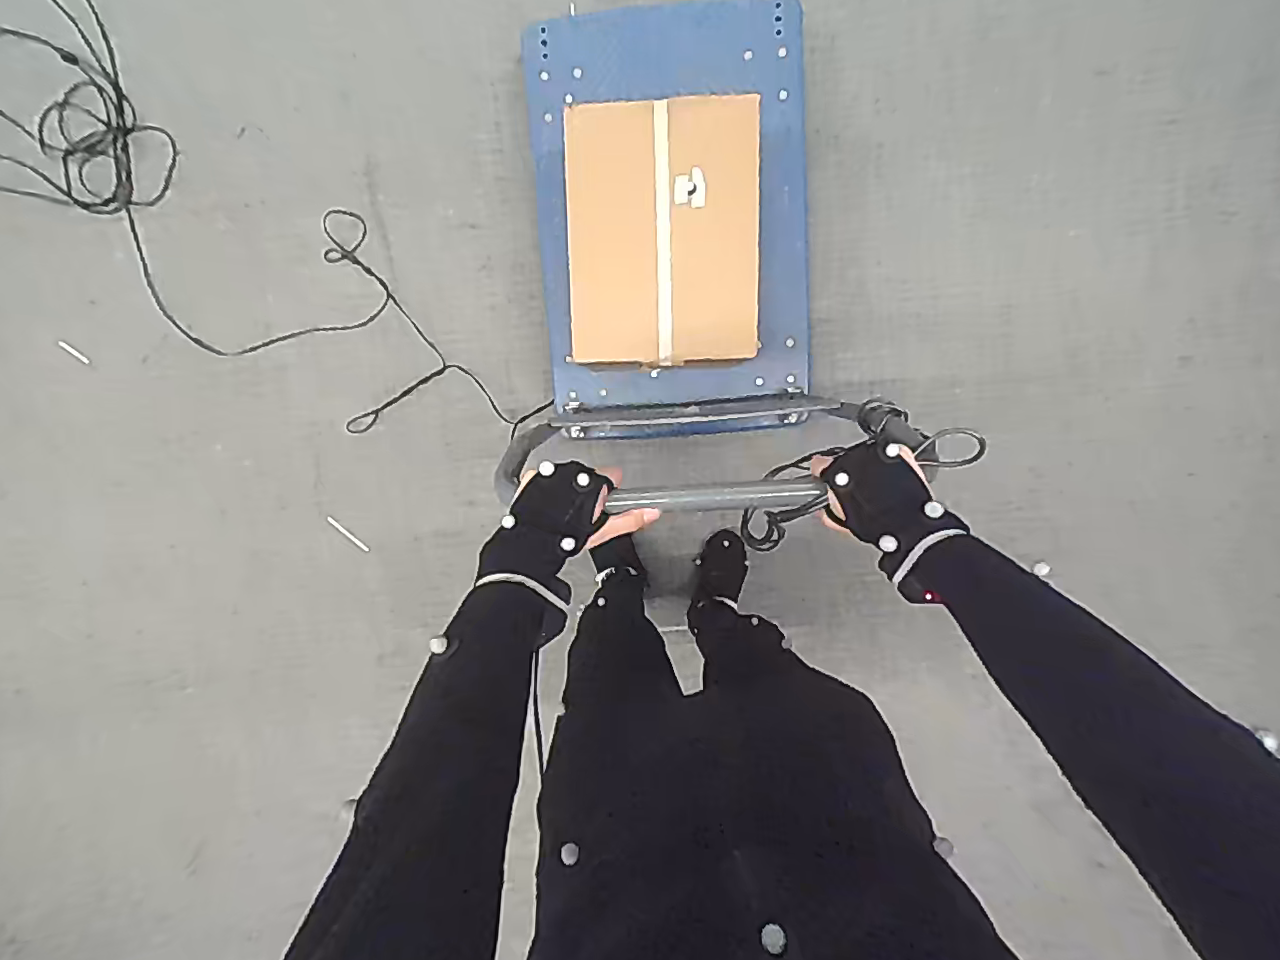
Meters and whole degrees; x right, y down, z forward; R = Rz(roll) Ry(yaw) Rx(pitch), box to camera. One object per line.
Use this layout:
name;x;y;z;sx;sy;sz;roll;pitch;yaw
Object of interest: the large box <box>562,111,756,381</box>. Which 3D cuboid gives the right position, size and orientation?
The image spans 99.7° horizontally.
large box;0.042;-0.404;1.037;0.320;0.320;0.408;-1;98;2
